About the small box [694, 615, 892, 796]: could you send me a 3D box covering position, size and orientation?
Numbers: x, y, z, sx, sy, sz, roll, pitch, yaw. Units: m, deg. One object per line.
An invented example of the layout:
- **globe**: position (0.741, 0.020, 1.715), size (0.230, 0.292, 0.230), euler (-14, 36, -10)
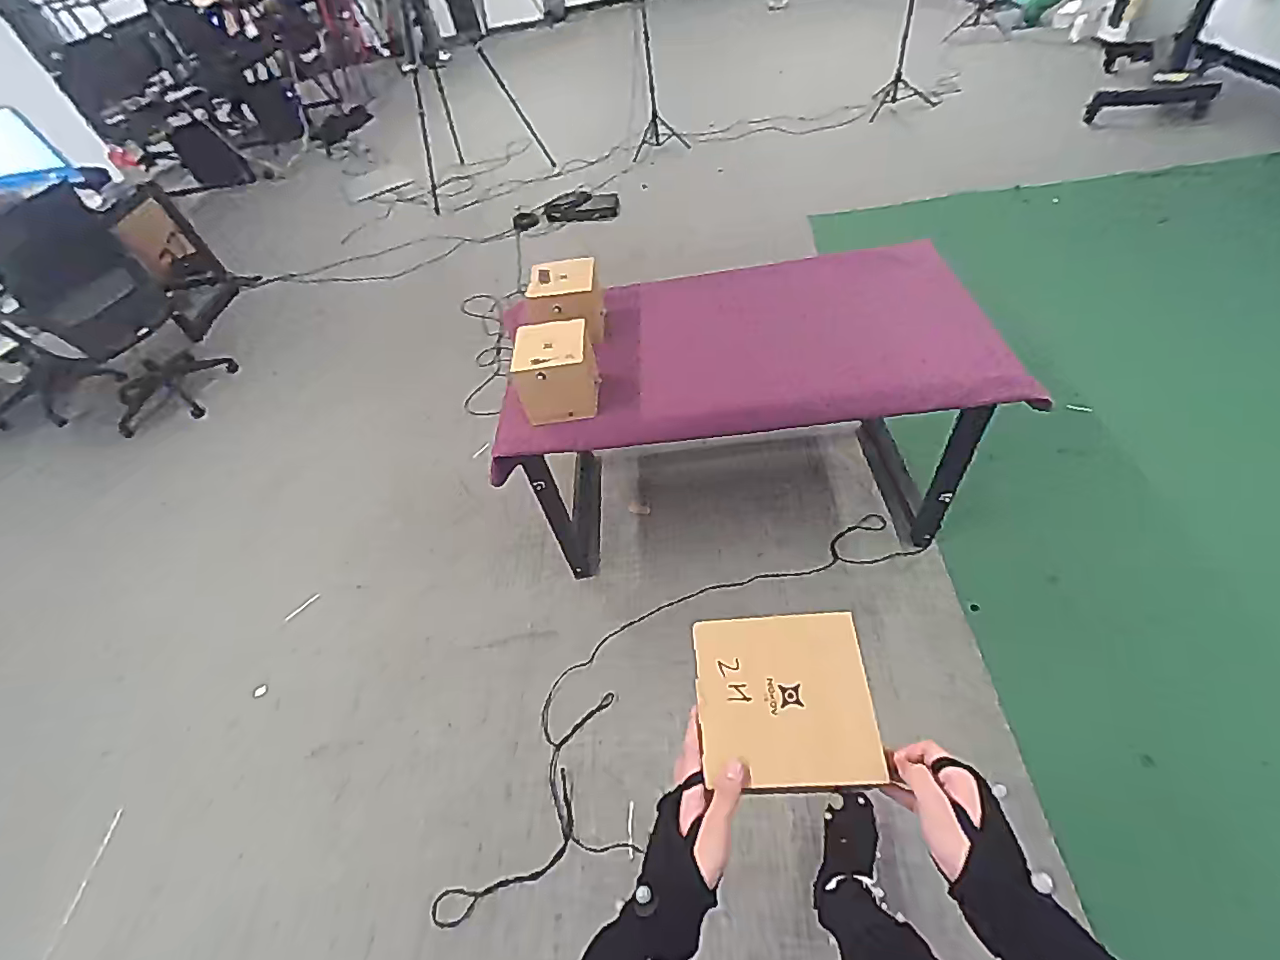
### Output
- **small box**: position (0.158, 0.261, 0.615), size (0.179, 0.176, 0.168), euler (-6, 58, 7)

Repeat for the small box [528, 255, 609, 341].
- **small box**: position (-0.189, -0.487, 1.477), size (0.179, 0.176, 0.168), euler (-5, 51, 6)

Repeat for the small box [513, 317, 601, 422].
- **small box**: position (-0.190, -0.263, 1.292), size (0.168, 0.176, 0.179), euler (-7, 49, 5)
